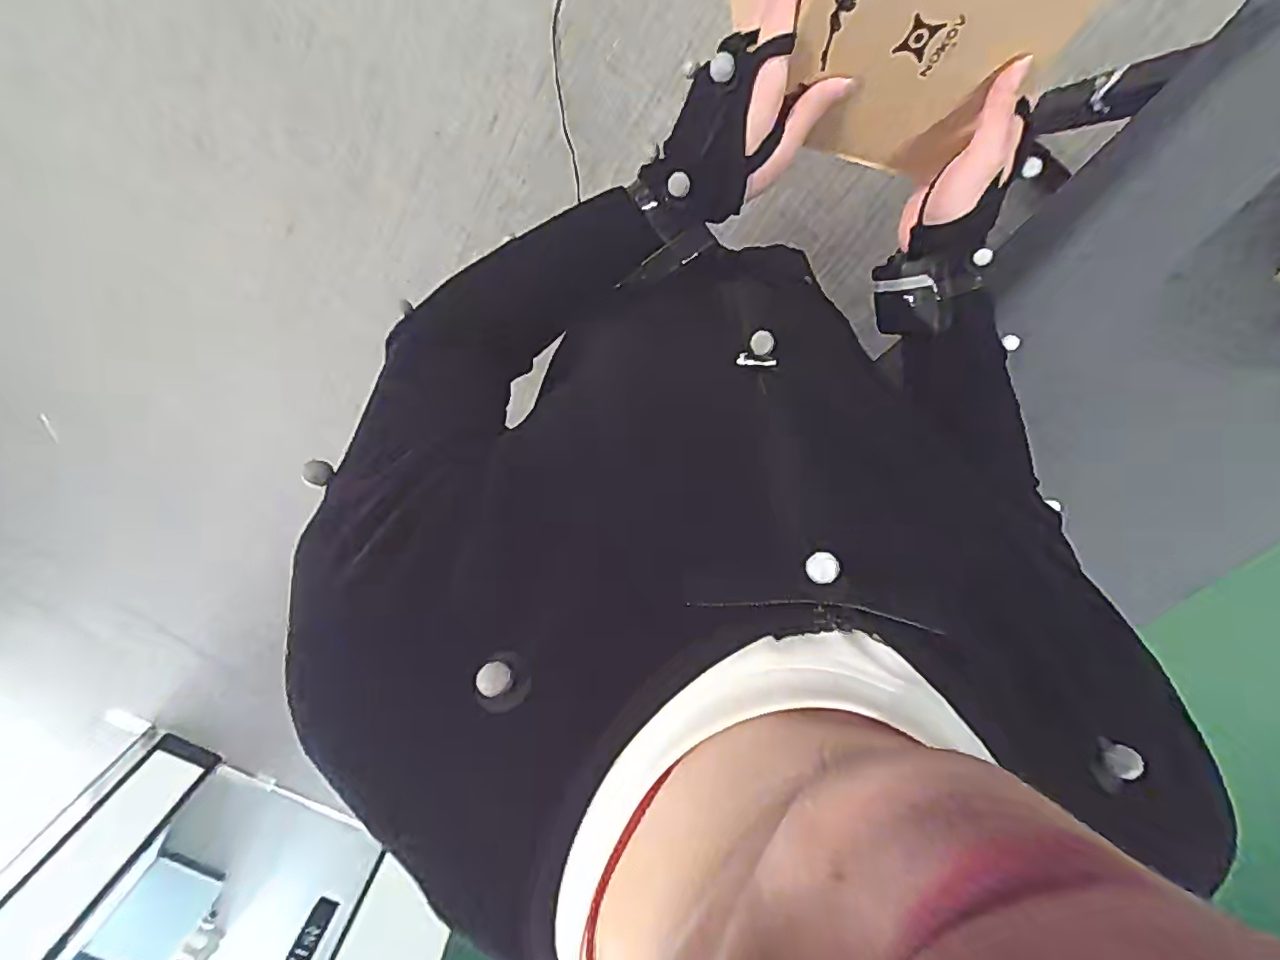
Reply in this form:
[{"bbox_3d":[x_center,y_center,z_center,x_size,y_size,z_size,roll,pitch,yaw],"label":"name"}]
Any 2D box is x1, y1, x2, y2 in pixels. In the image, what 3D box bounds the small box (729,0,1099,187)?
[{"bbox_3d":[0.180,-0.354,0.386,0.179,0.176,0.168,5,156,-15],"label":"small box"}]
